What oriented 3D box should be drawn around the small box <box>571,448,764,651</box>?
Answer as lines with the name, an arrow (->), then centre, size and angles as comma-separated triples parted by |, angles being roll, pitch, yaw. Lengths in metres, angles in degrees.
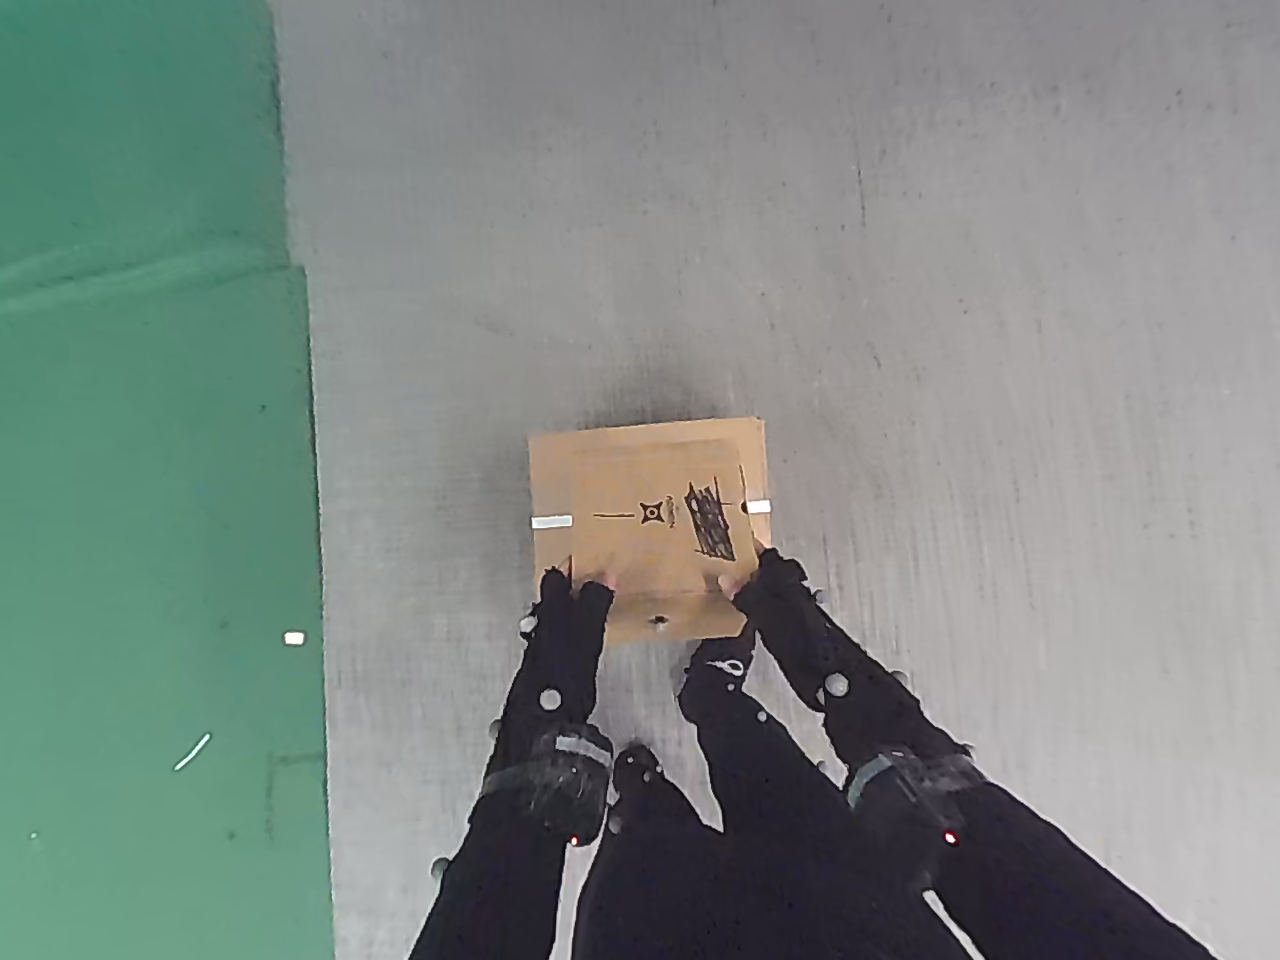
small box -> 0.023, 0.082, 0.590 | 0.179, 0.176, 0.168 | -5, 59, 1
